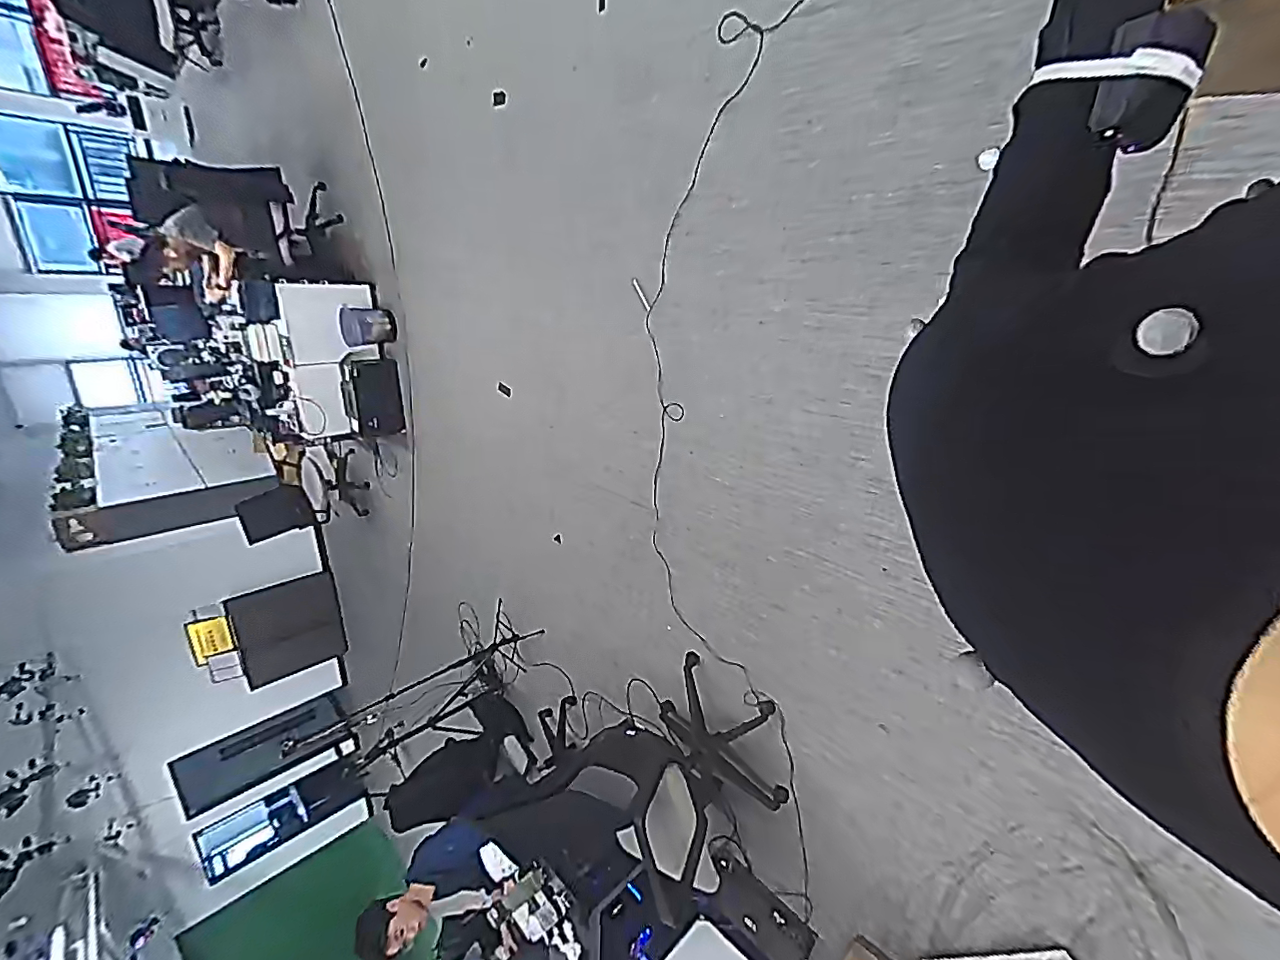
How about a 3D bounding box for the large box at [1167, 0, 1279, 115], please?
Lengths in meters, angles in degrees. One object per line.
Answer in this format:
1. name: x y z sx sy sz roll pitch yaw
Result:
1. large box: 0.584 -0.404 0.263 0.408 0.320 0.320 25 123 37
